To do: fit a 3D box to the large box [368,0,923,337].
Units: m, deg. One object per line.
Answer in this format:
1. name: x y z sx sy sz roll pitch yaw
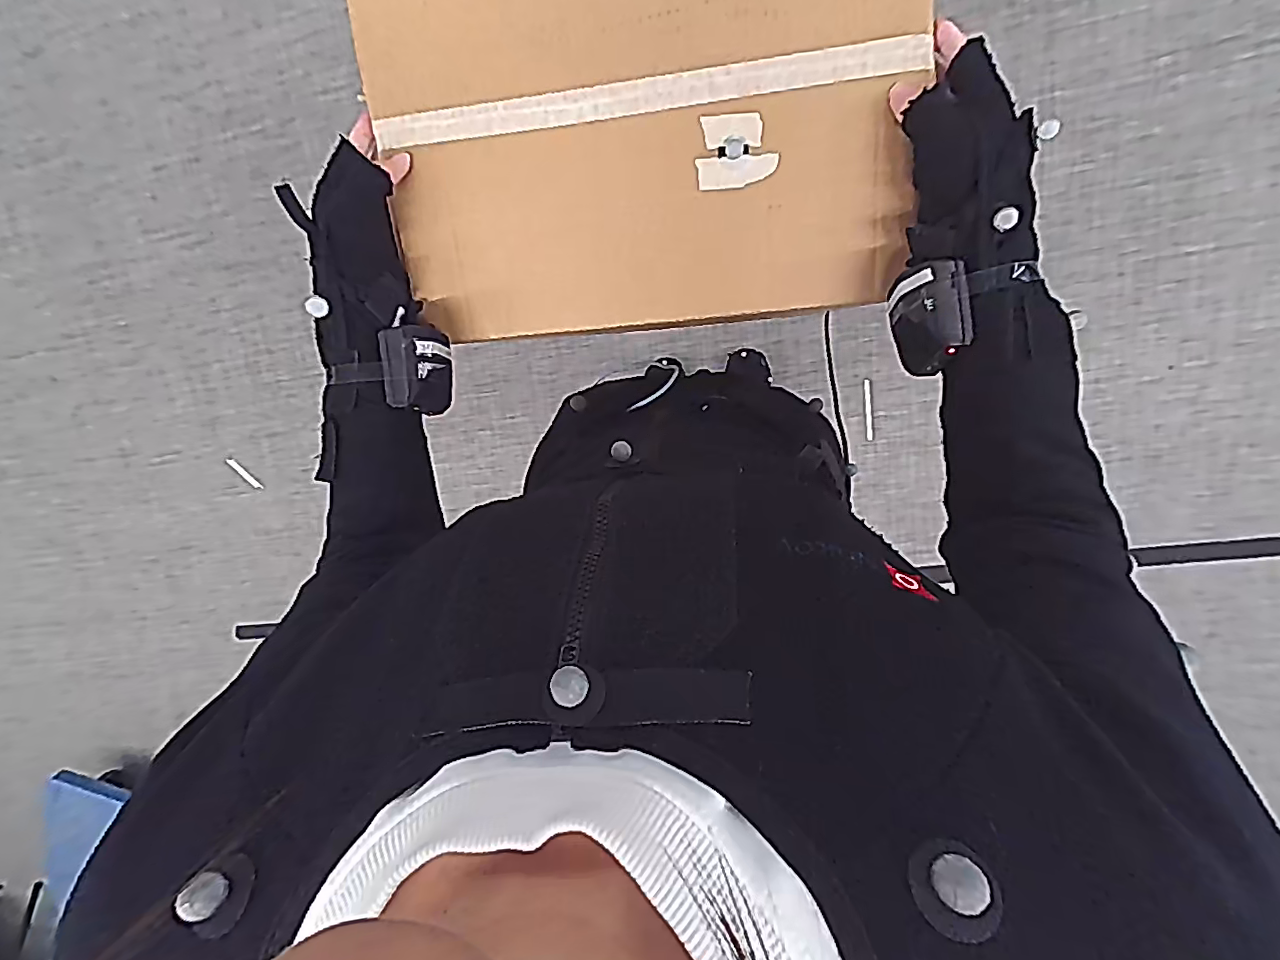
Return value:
1. large box: 0.013 -0.325 0.547 0.408 0.320 0.320 -4 105 6
